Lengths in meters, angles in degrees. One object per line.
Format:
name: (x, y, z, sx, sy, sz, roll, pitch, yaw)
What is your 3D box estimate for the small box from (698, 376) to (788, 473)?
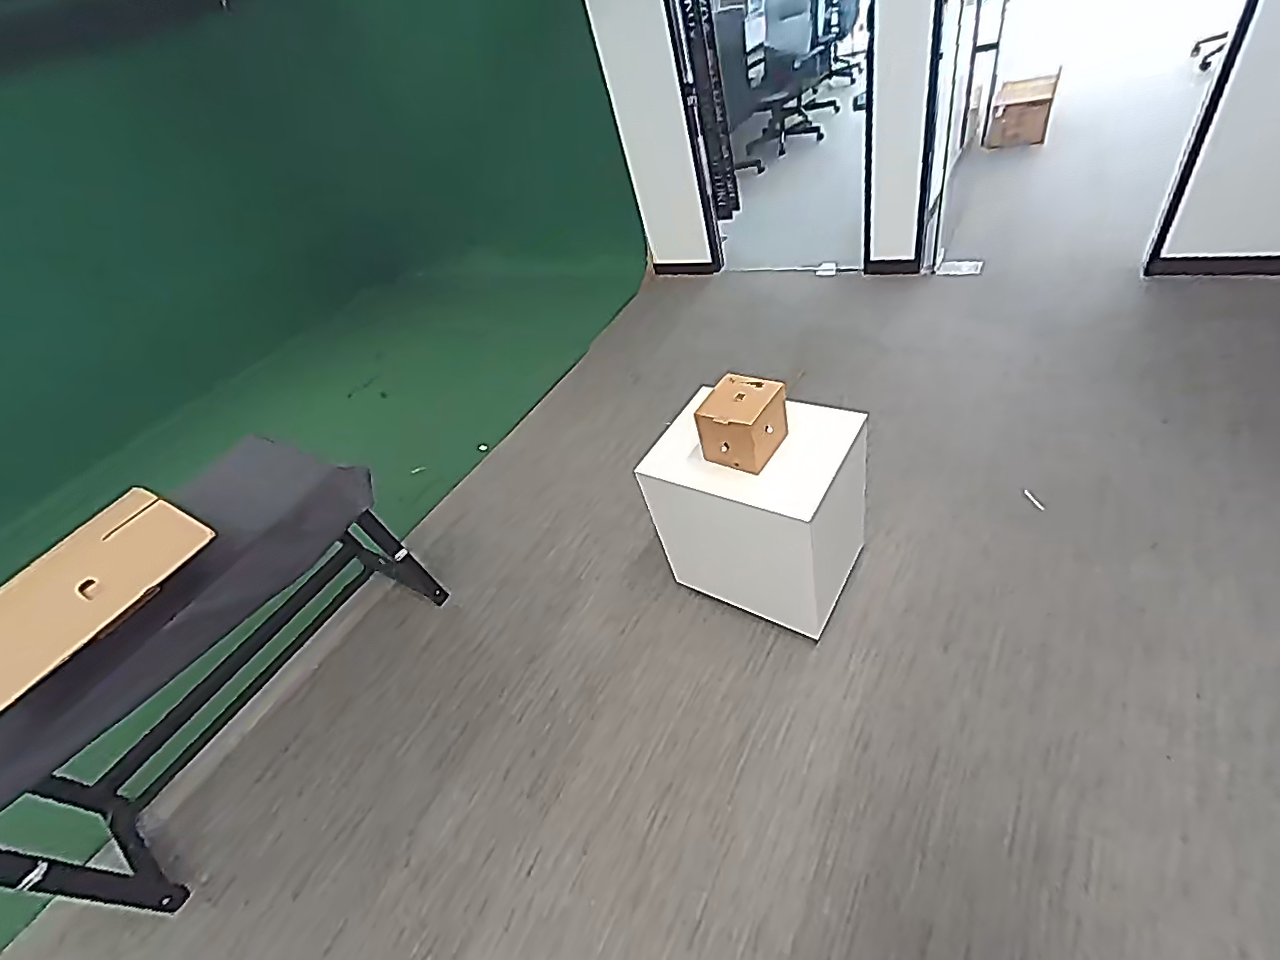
small box: (0.276, -0.143, 1.408, 0.168, 0.176, 0.179, 17, 53, 34)
